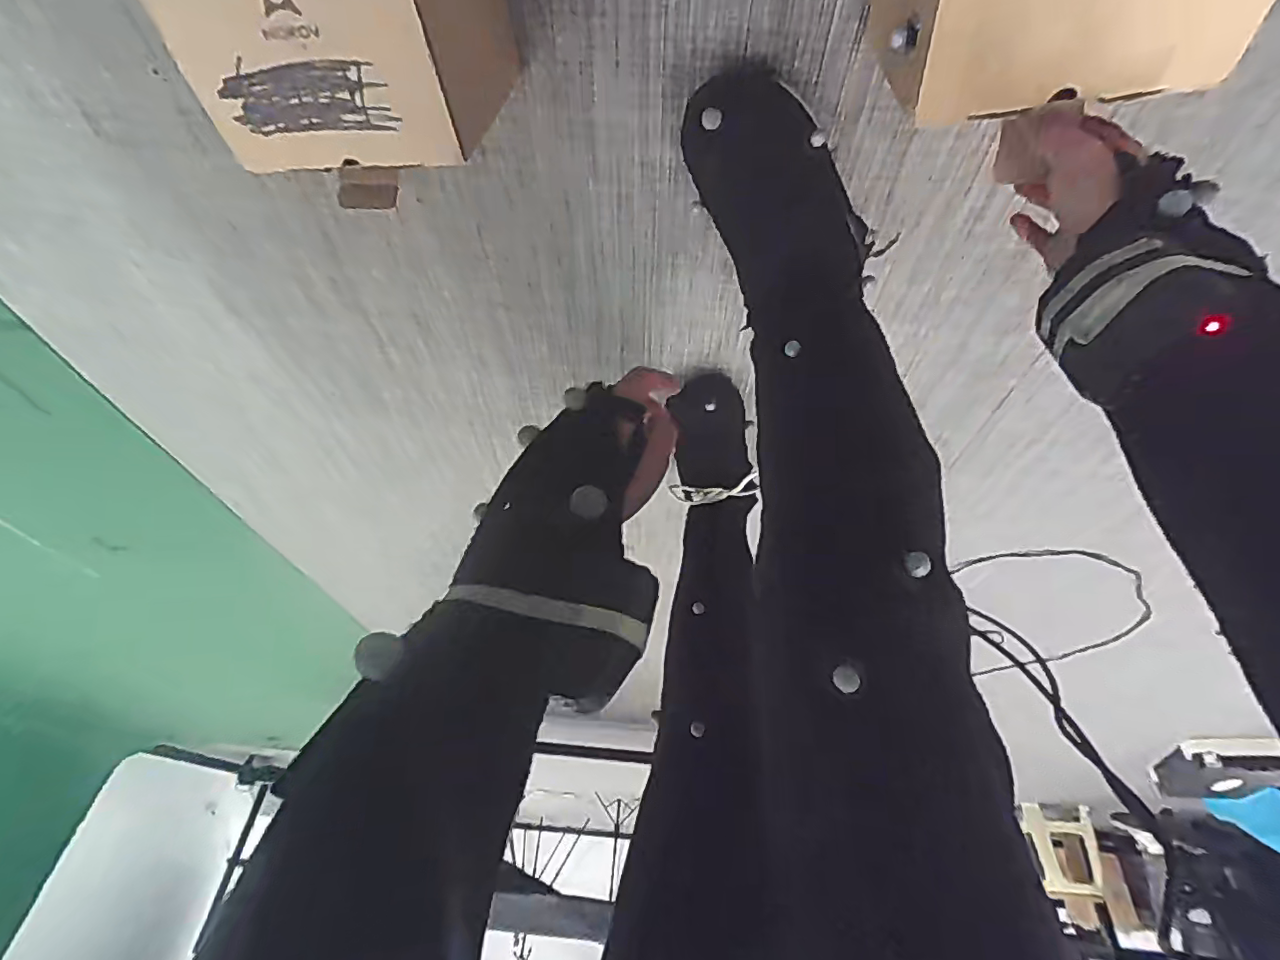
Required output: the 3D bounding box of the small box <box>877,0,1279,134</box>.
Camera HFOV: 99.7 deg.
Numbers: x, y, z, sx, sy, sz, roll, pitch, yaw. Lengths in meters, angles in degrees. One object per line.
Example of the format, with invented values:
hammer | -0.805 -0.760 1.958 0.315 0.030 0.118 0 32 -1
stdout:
small box | 0.241 -0.330 0.298 0.168 0.176 0.179 -2 144 11
